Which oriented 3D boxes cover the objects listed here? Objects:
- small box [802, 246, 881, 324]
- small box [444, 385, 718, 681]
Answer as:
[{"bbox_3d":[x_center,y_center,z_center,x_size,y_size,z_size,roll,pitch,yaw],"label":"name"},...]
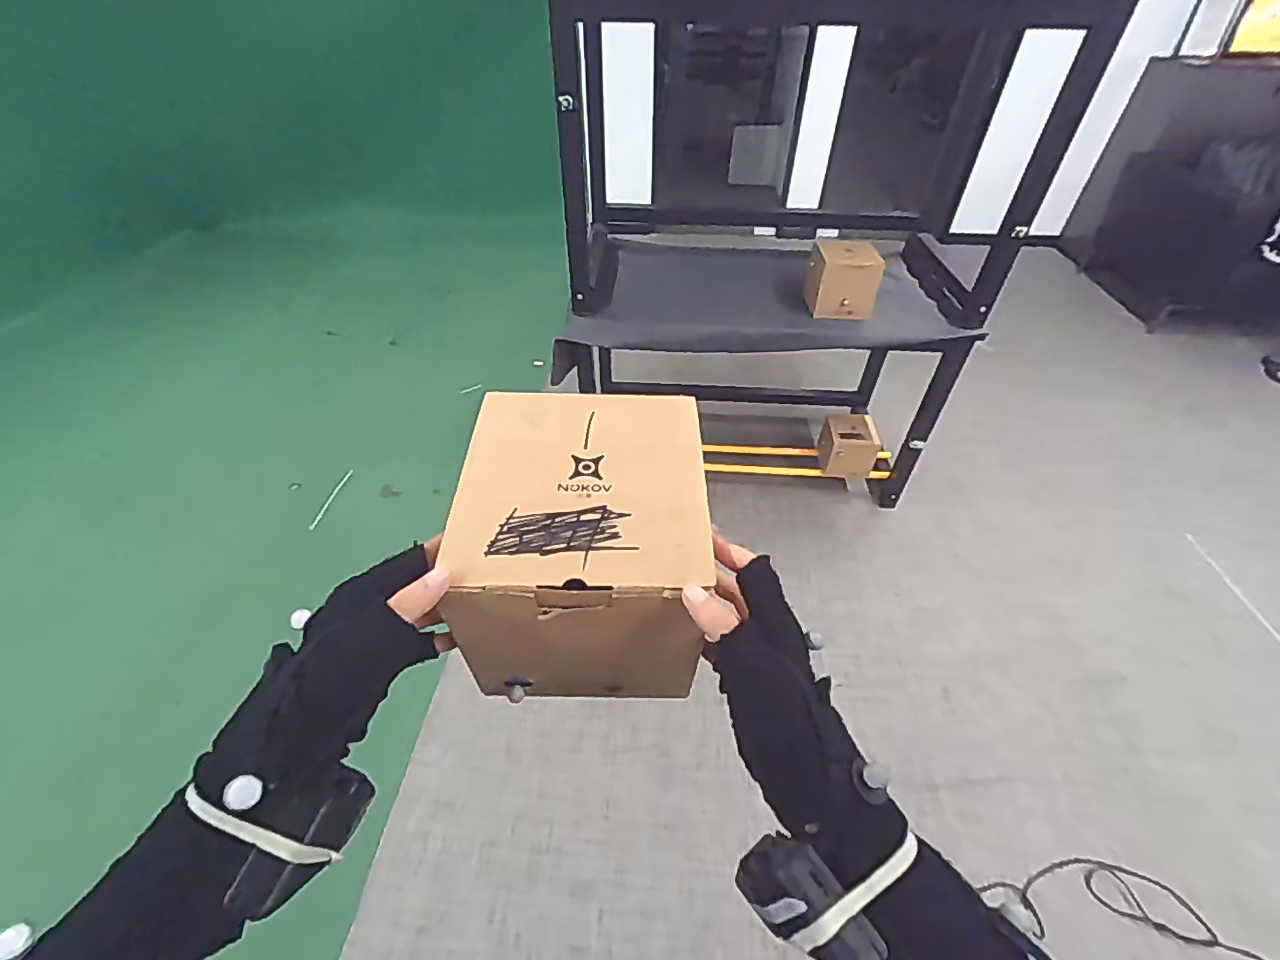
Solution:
[{"bbox_3d":[0.594,-0.585,1.620,0.168,0.176,0.179,2,42,2],"label":"small box"},{"bbox_3d":[-0.035,0.045,0.429,0.168,0.176,0.179,1,47,-2],"label":"small box"}]
